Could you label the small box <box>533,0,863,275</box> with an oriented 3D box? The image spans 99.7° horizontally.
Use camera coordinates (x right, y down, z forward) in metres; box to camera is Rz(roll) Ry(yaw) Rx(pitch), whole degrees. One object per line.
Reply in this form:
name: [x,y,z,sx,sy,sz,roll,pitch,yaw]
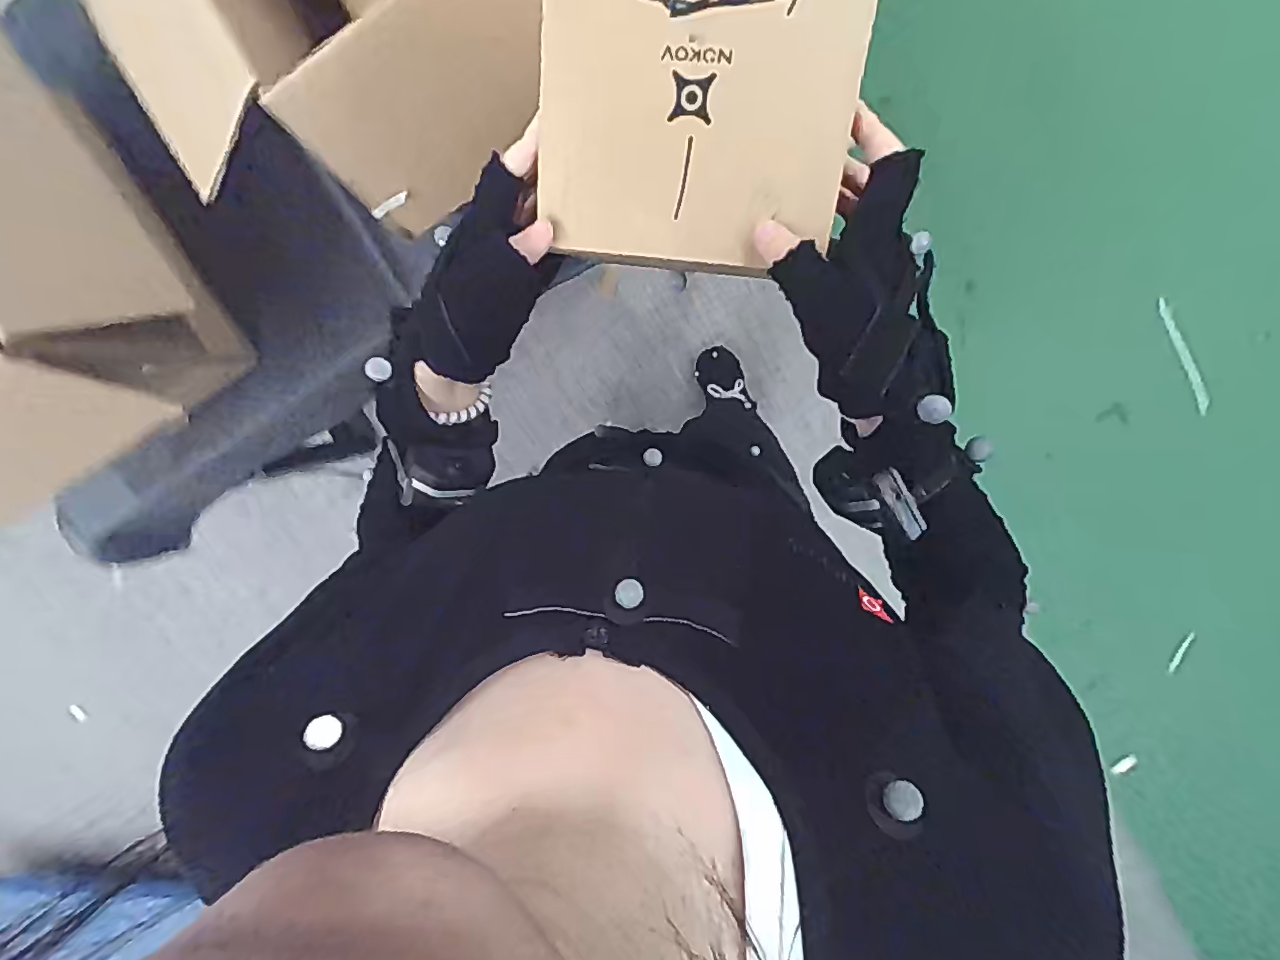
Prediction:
small box: [0.034,-0.238,0.359,0.168,0.176,0.179,7,110,4]
